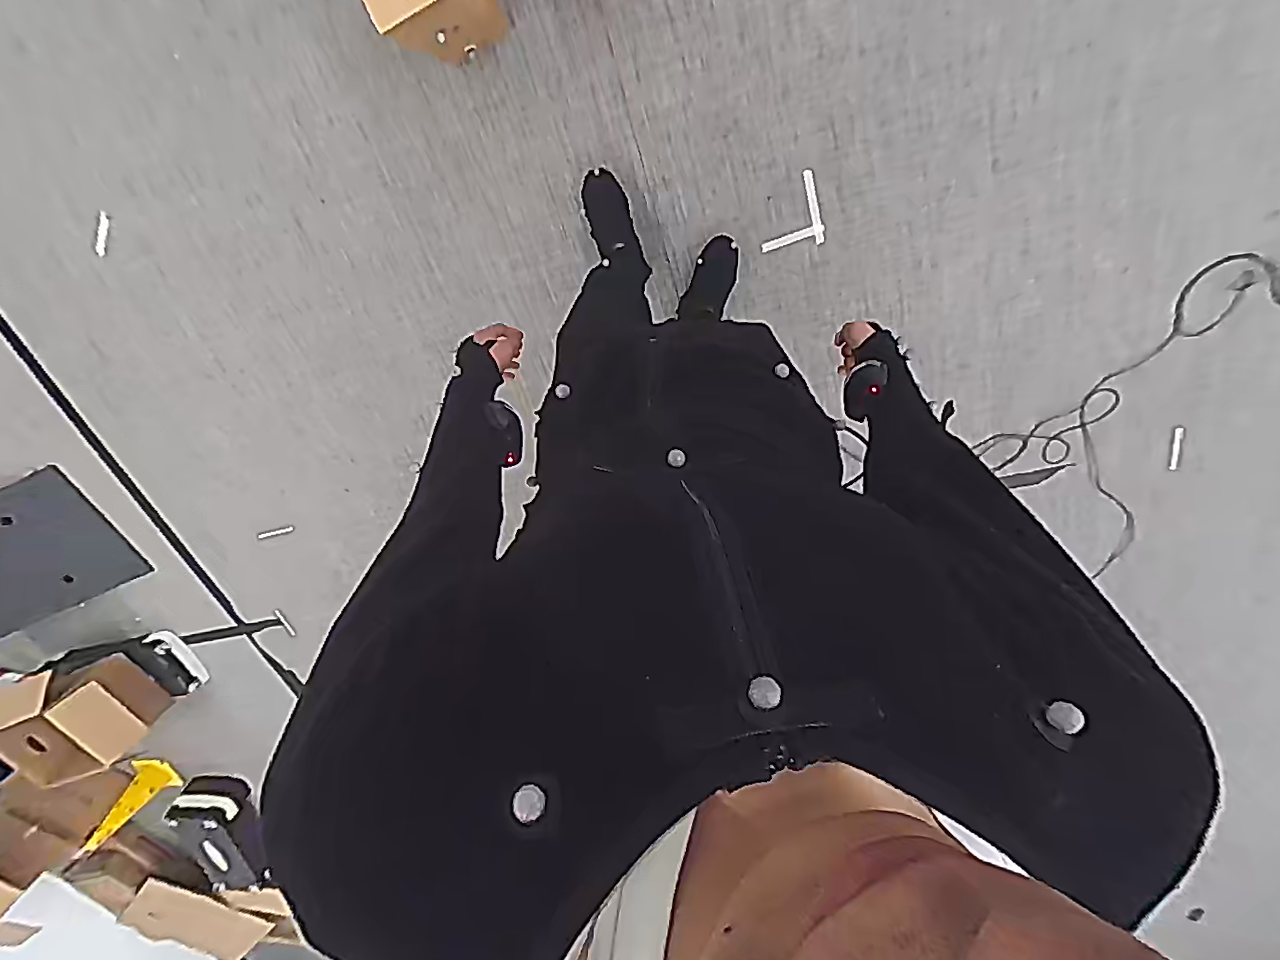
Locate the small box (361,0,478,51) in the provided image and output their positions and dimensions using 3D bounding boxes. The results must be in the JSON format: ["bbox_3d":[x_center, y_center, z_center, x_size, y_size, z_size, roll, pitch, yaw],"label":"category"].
[{"bbox_3d":[-0.439,-0.965,1.026,0.168,0.176,0.179,-17,115,14],"label":"small box"}]

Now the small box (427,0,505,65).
[{"bbox_3d":[-0.420,-1.047,1.168,0.168,0.176,0.179,-18,114,14],"label":"small box"}]
